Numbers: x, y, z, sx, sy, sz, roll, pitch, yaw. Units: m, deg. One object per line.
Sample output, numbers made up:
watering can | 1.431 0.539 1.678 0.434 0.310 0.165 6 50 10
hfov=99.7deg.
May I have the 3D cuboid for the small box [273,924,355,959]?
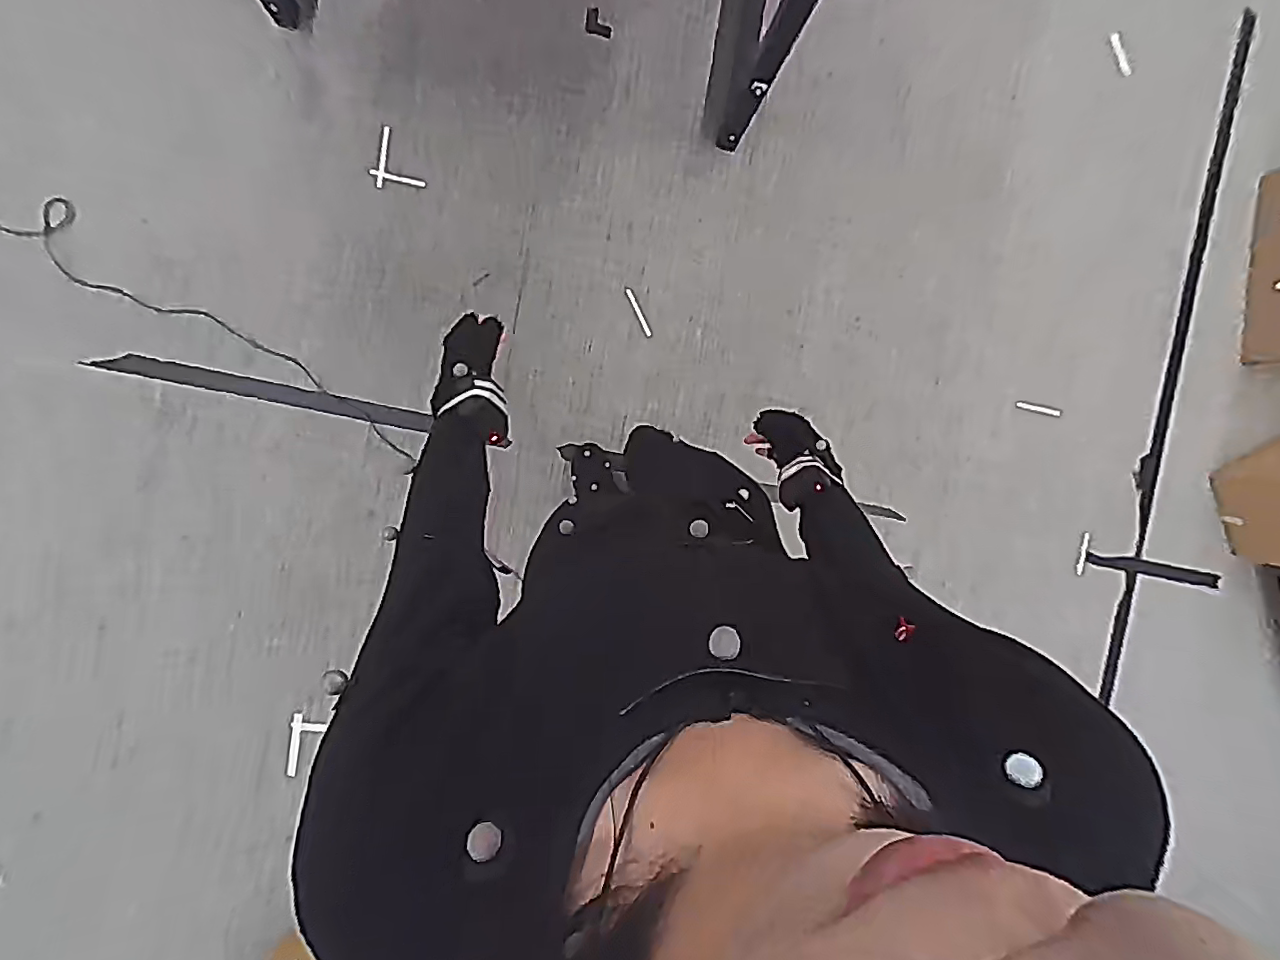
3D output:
small box | -0.859 1.308 1.398 0.179 0.176 0.168 -15 95 -5
